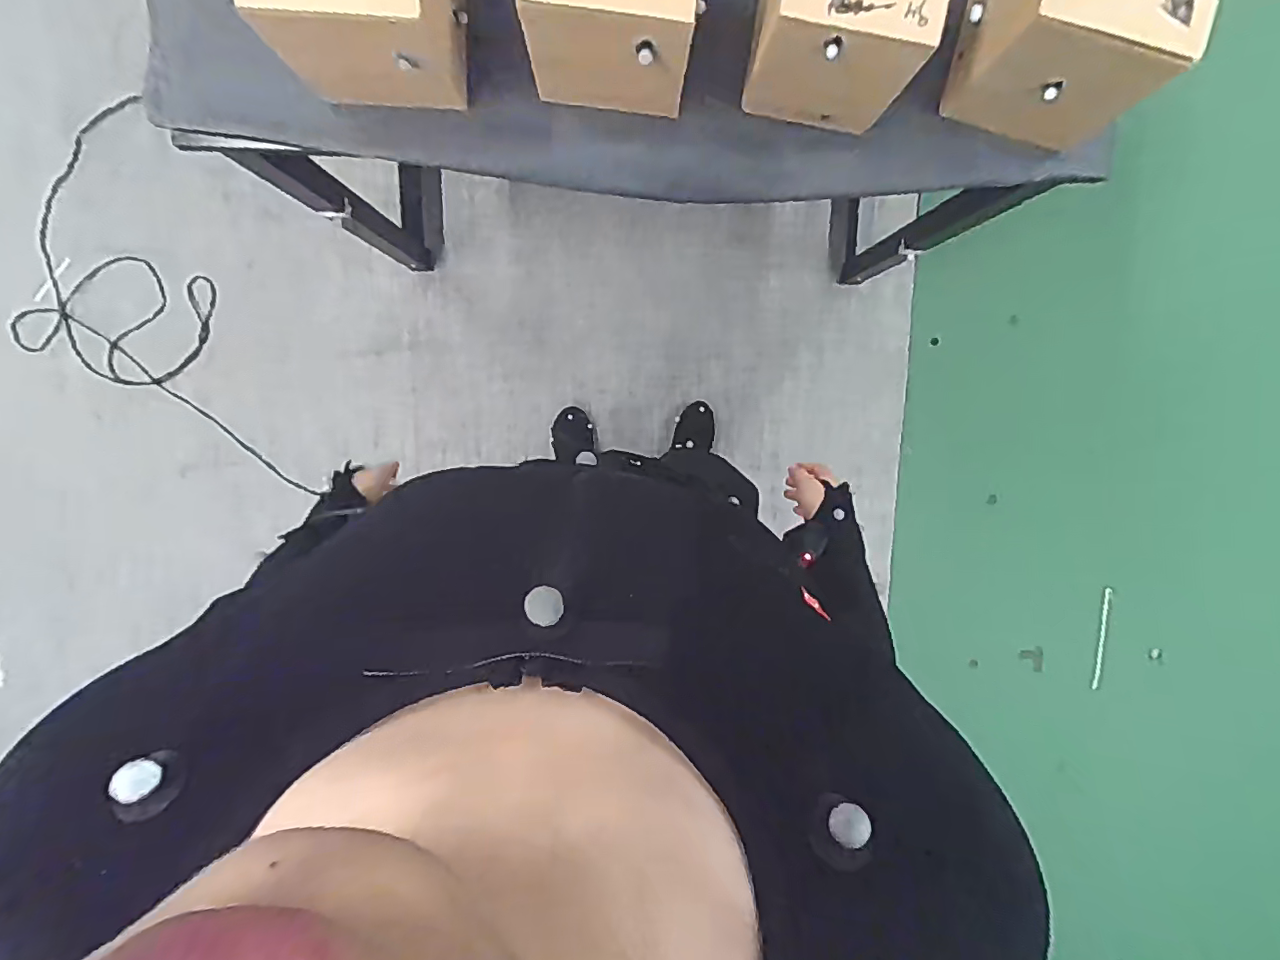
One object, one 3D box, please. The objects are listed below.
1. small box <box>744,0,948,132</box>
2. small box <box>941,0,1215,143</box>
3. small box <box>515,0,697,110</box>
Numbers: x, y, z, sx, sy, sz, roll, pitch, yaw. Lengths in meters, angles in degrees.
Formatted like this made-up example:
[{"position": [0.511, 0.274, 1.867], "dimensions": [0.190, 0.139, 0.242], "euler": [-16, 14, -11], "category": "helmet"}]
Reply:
[{"position": [0.223, -0.532, 0.597], "dimensions": [0.168, 0.176, 0.179], "euler": [9, 96, -4], "category": "small box"}, {"position": [0.484, -0.515, 0.604], "dimensions": [0.179, 0.176, 0.168], "euler": [14, 94, -3], "category": "small box"}, {"position": [-0.028, -0.538, 0.586], "dimensions": [0.179, 0.176, 0.168], "euler": [6, 96, -2], "category": "small box"}]
